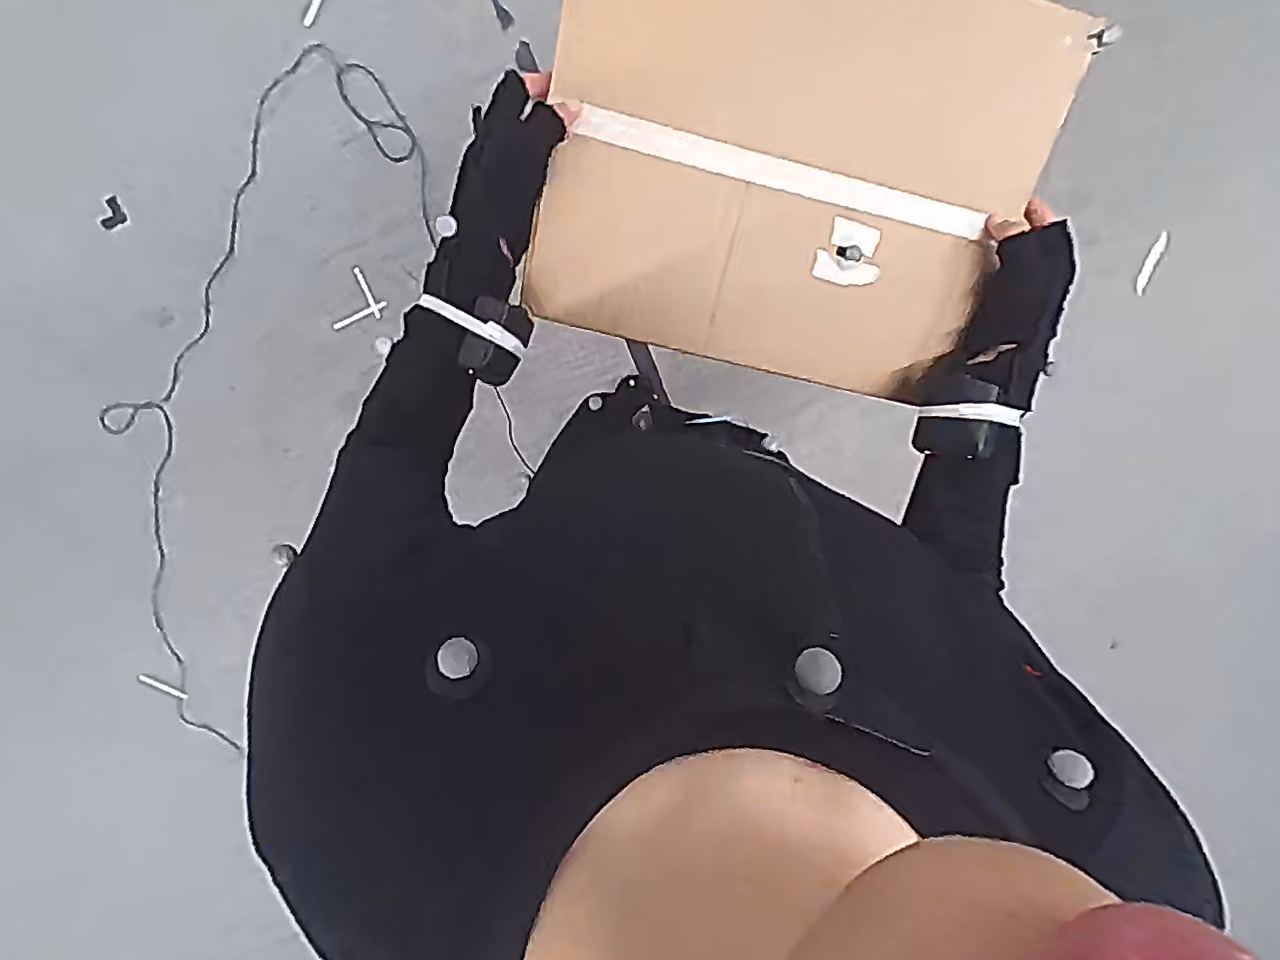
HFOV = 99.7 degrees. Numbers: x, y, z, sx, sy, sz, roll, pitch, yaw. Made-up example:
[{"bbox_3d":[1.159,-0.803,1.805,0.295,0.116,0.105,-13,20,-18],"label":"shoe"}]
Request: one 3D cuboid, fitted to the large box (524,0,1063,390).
[{"bbox_3d":[0.106,-0.312,0.596,0.408,0.320,0.320,10,112,-7],"label":"large box"}]
